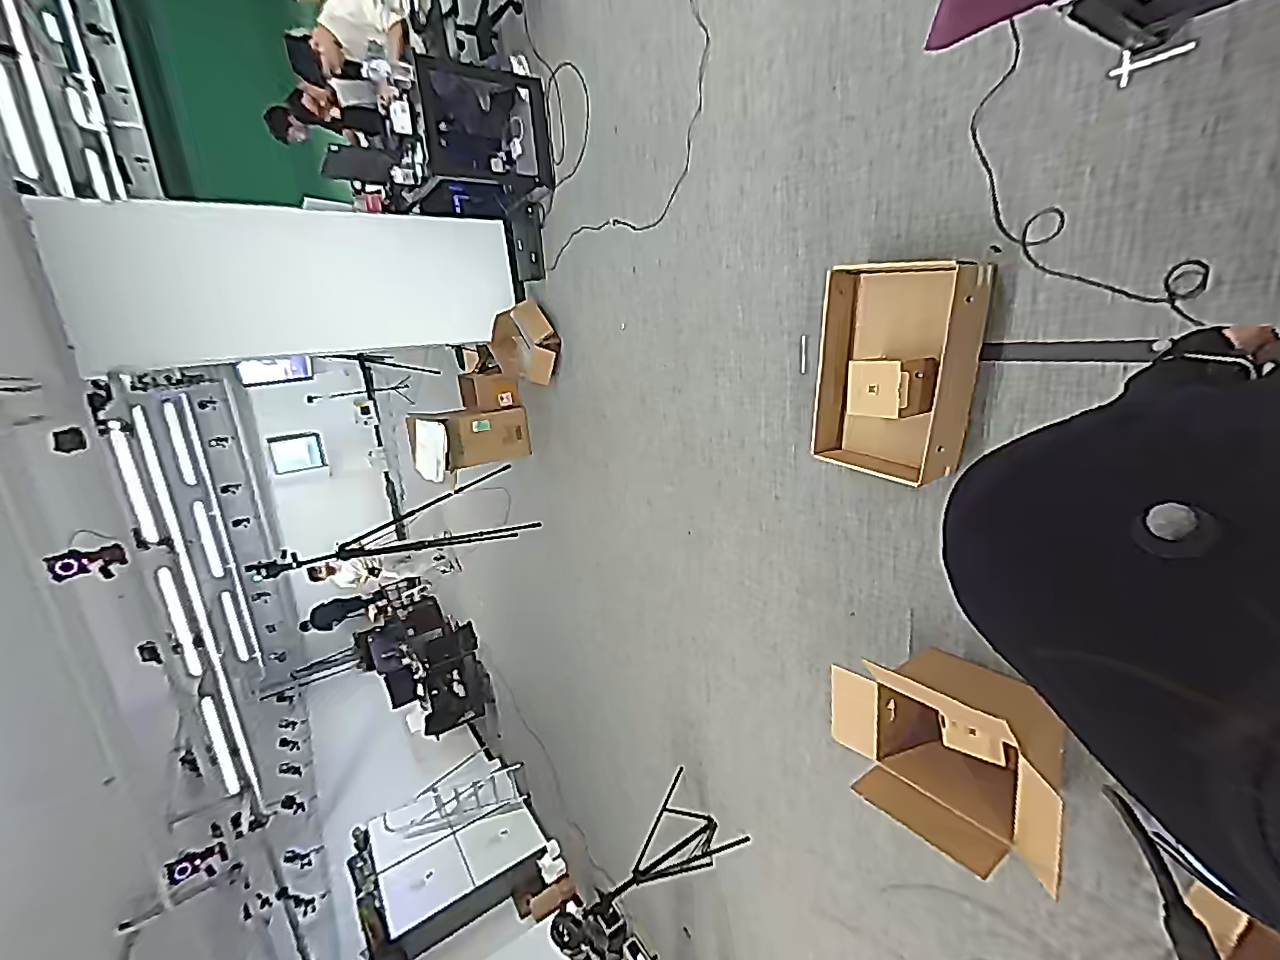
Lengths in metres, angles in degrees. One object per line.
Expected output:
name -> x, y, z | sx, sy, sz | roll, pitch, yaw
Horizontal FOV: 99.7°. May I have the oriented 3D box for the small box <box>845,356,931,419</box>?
small box -> 0.749, -0.285, 1.632 | 0.179, 0.176, 0.168 | 18, 115, 54
